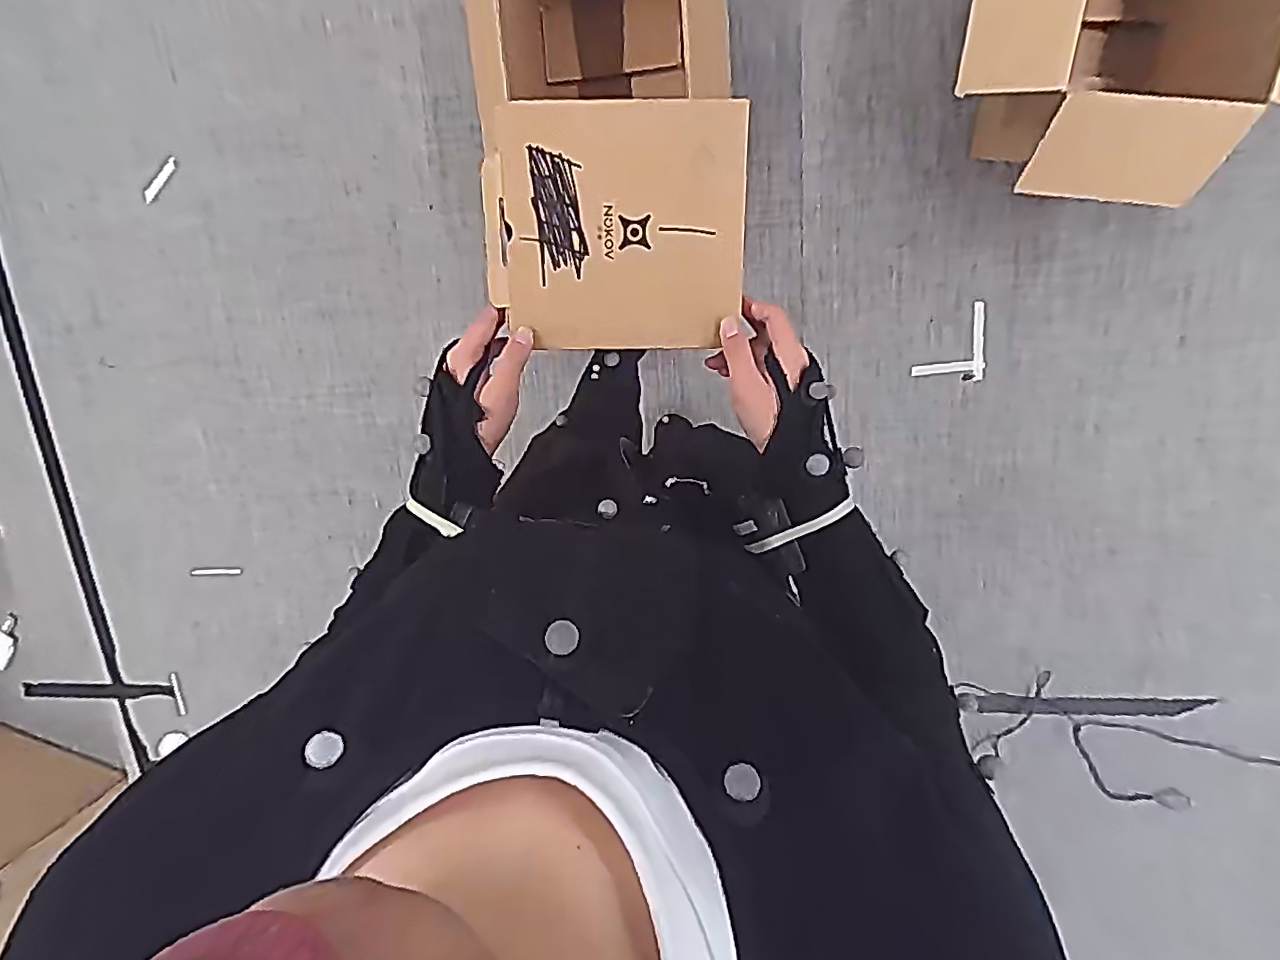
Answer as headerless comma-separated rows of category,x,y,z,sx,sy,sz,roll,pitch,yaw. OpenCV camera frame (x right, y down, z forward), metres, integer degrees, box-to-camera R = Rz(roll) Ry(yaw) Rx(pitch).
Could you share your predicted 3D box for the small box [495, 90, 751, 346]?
small box,-0.011,-0.200,0.459,0.179,0.176,0.168,0,104,0
